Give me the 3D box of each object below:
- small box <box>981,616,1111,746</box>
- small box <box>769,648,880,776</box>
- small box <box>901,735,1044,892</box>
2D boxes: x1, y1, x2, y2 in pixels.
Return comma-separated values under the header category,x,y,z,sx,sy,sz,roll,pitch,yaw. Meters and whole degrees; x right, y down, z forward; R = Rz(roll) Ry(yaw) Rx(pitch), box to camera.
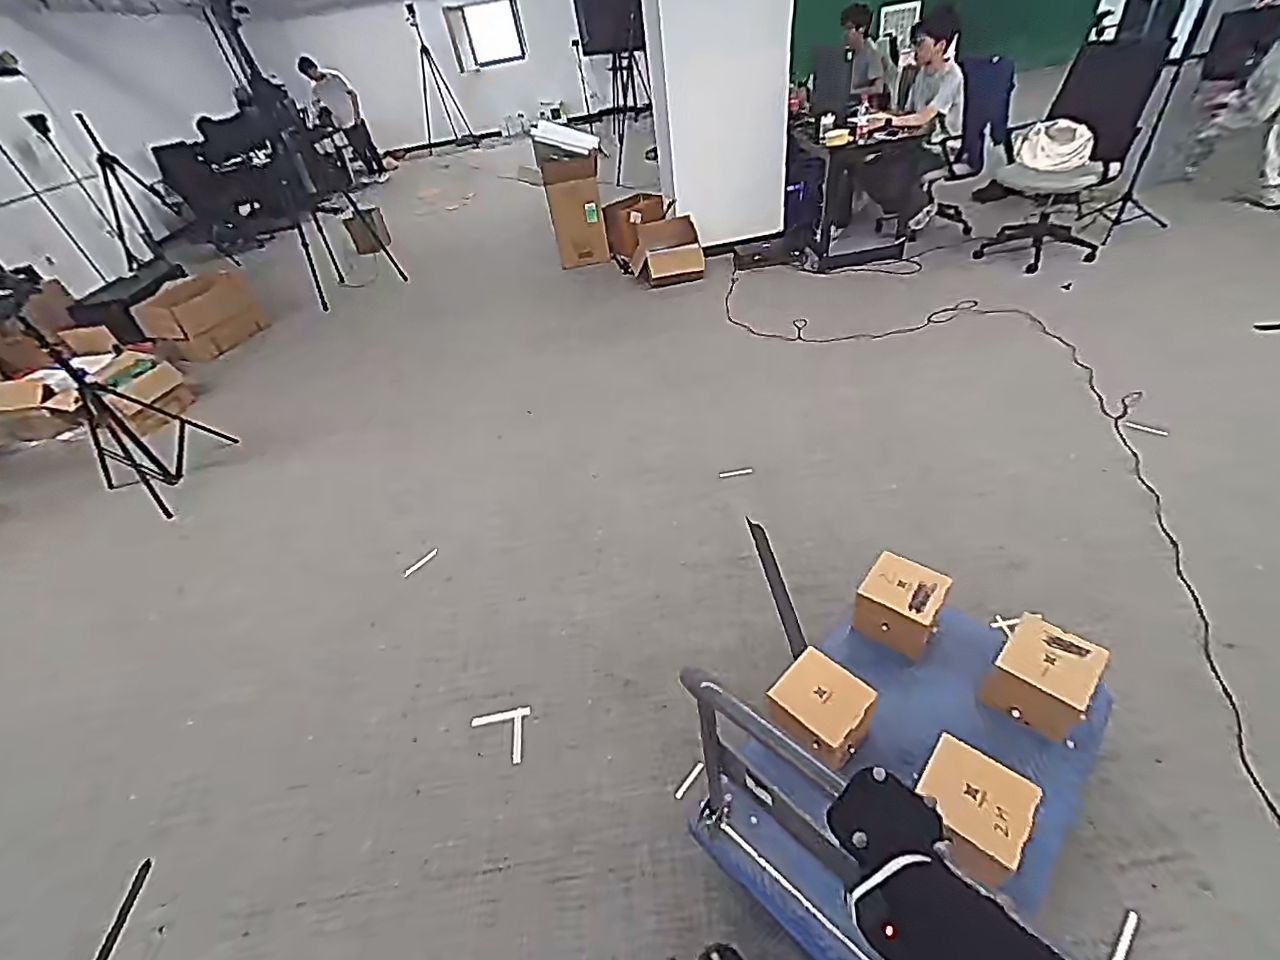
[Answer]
category,x,y,z,sx,sy,sz,roll,pitch,yaw
small box,0.900,0.449,1.212,0.179,0.176,0.168,-38,47,-27
small box,0.410,0.529,1.230,0.168,0.176,0.179,-35,47,-26
small box,0.630,0.645,1.044,0.179,0.176,0.168,26,53,36
